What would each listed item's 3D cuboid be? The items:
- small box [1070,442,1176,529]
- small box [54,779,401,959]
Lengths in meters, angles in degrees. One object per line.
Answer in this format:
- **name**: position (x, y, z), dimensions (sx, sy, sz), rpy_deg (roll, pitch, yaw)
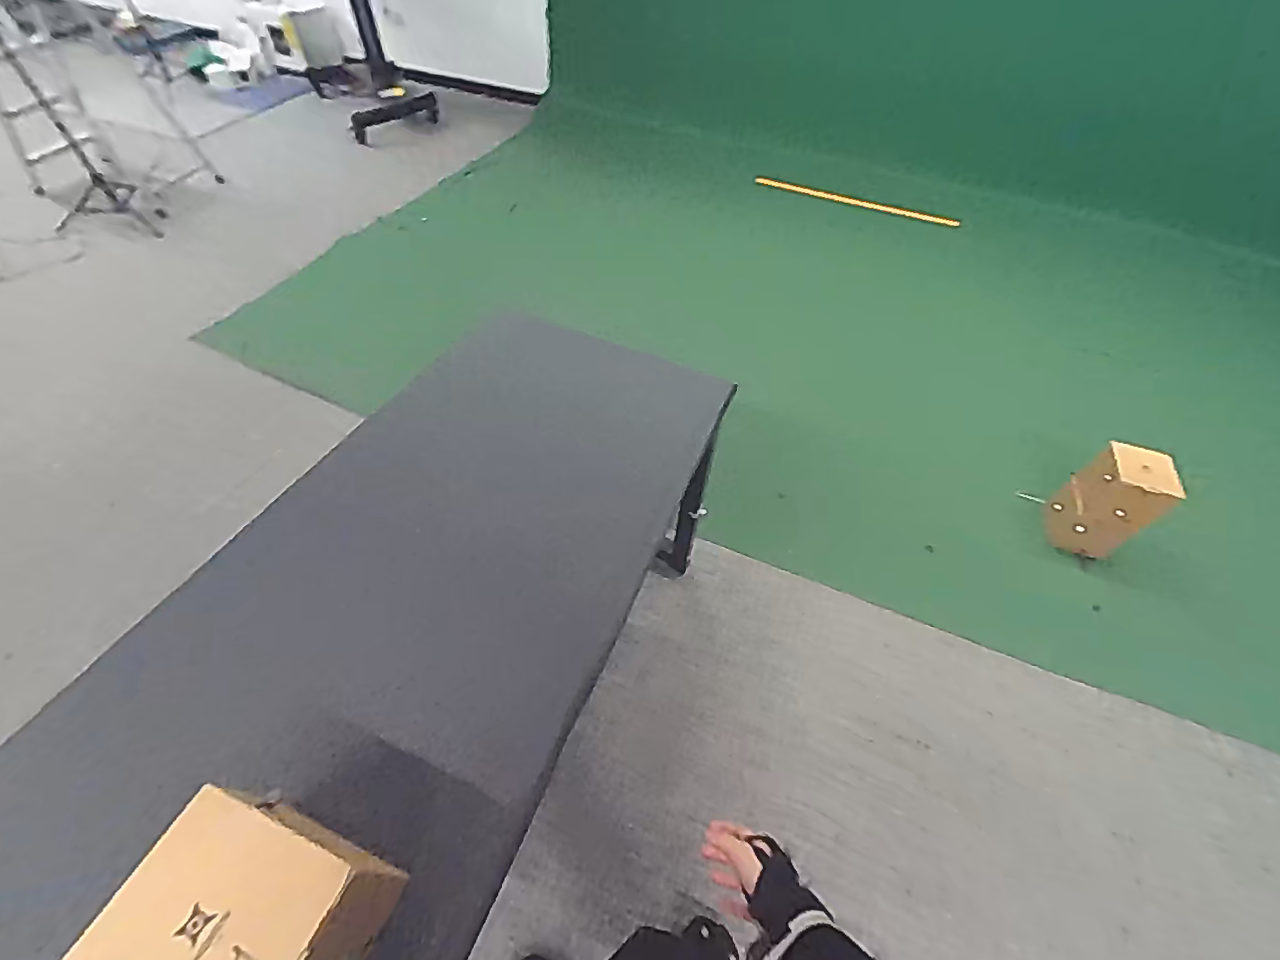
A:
- **small box**: position (1.462, 0.018, 1.653), dimensions (0.168, 0.176, 0.179), rpy_deg (17, 53, 9)
- **small box**: position (-0.363, 0.414, 0.504), dimensions (0.179, 0.176, 0.168), rpy_deg (19, 54, 11)
